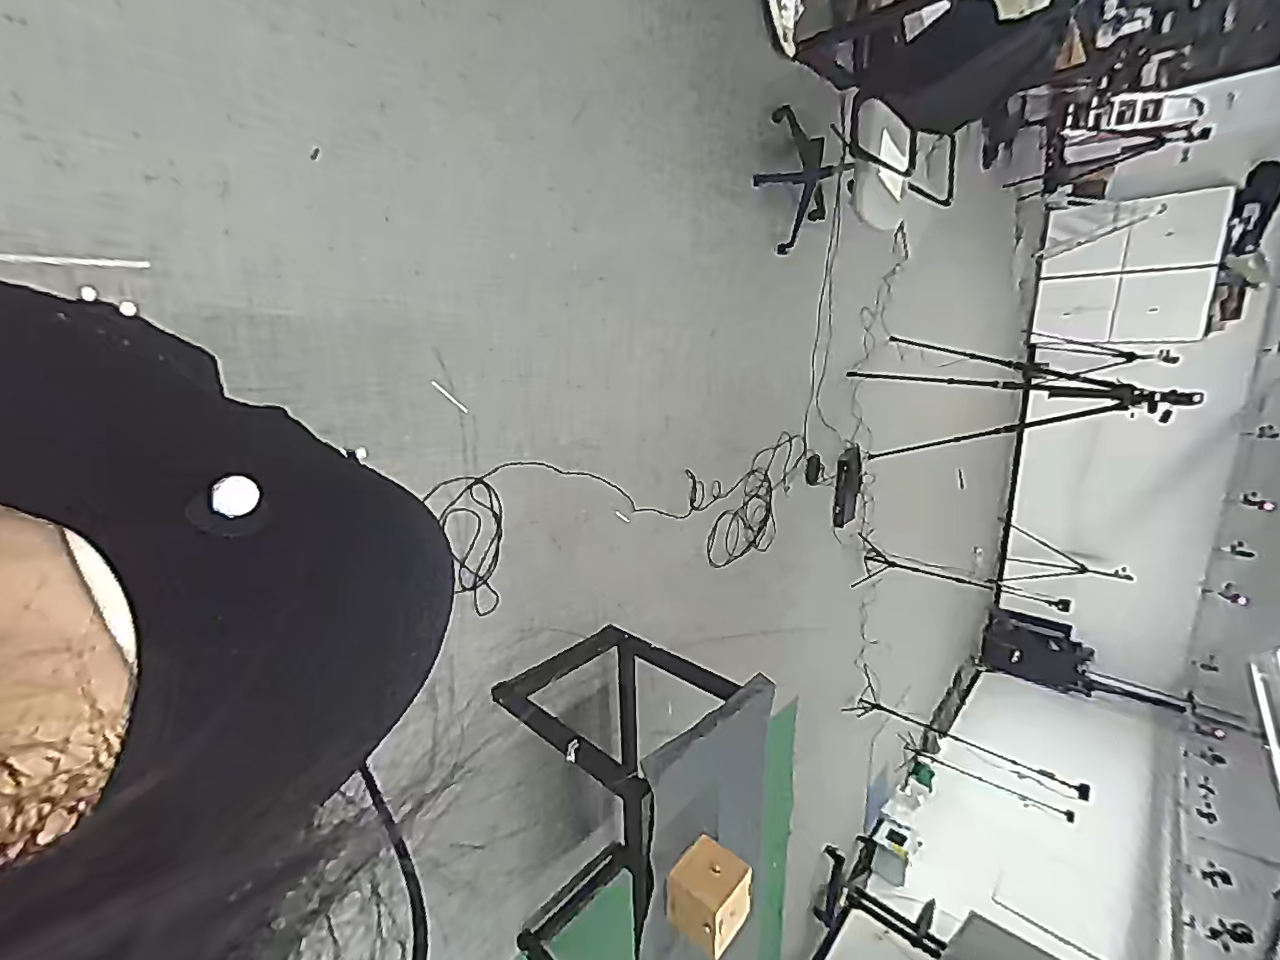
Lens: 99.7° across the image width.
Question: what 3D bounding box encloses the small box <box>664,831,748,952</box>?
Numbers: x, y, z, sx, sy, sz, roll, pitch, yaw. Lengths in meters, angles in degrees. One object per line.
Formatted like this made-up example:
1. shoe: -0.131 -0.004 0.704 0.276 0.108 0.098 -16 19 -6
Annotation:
1. small box: 0.186 1.146 1.527 0.179 0.176 0.168 -16 111 -46
